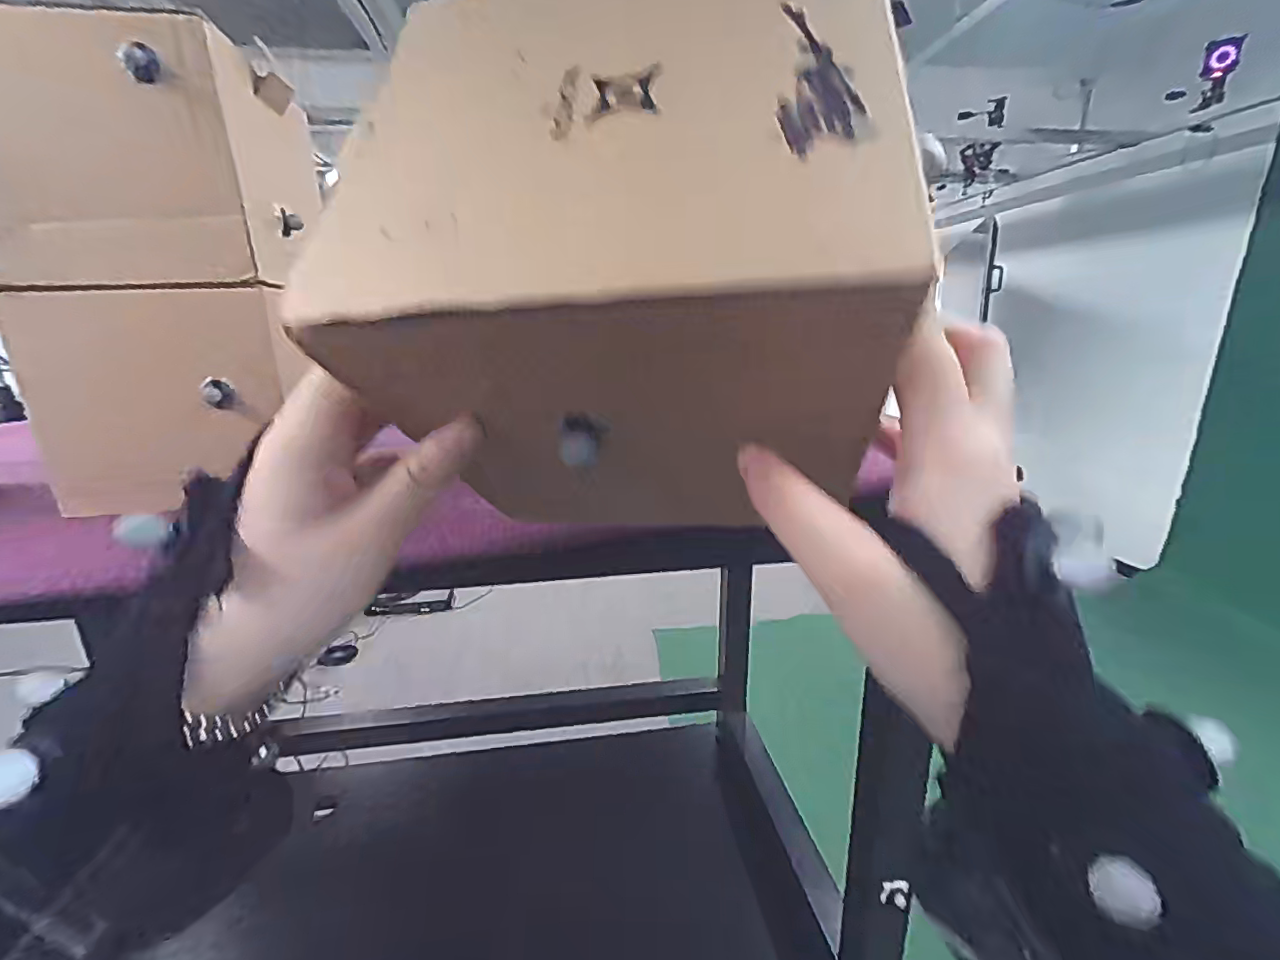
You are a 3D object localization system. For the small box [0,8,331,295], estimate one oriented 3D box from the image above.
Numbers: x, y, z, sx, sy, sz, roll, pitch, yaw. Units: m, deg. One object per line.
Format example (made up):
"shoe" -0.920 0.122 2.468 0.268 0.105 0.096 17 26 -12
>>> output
"small box" -0.374 -0.232 0.437 0.179 0.176 0.168 -4 15 -10

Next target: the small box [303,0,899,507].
"small box" 0.002 -0.092 0.251 0.179 0.168 0.176 -1 -25 12

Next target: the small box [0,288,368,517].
"small box" -0.363 -0.074 0.478 0.179 0.176 0.168 -5 15 -8
